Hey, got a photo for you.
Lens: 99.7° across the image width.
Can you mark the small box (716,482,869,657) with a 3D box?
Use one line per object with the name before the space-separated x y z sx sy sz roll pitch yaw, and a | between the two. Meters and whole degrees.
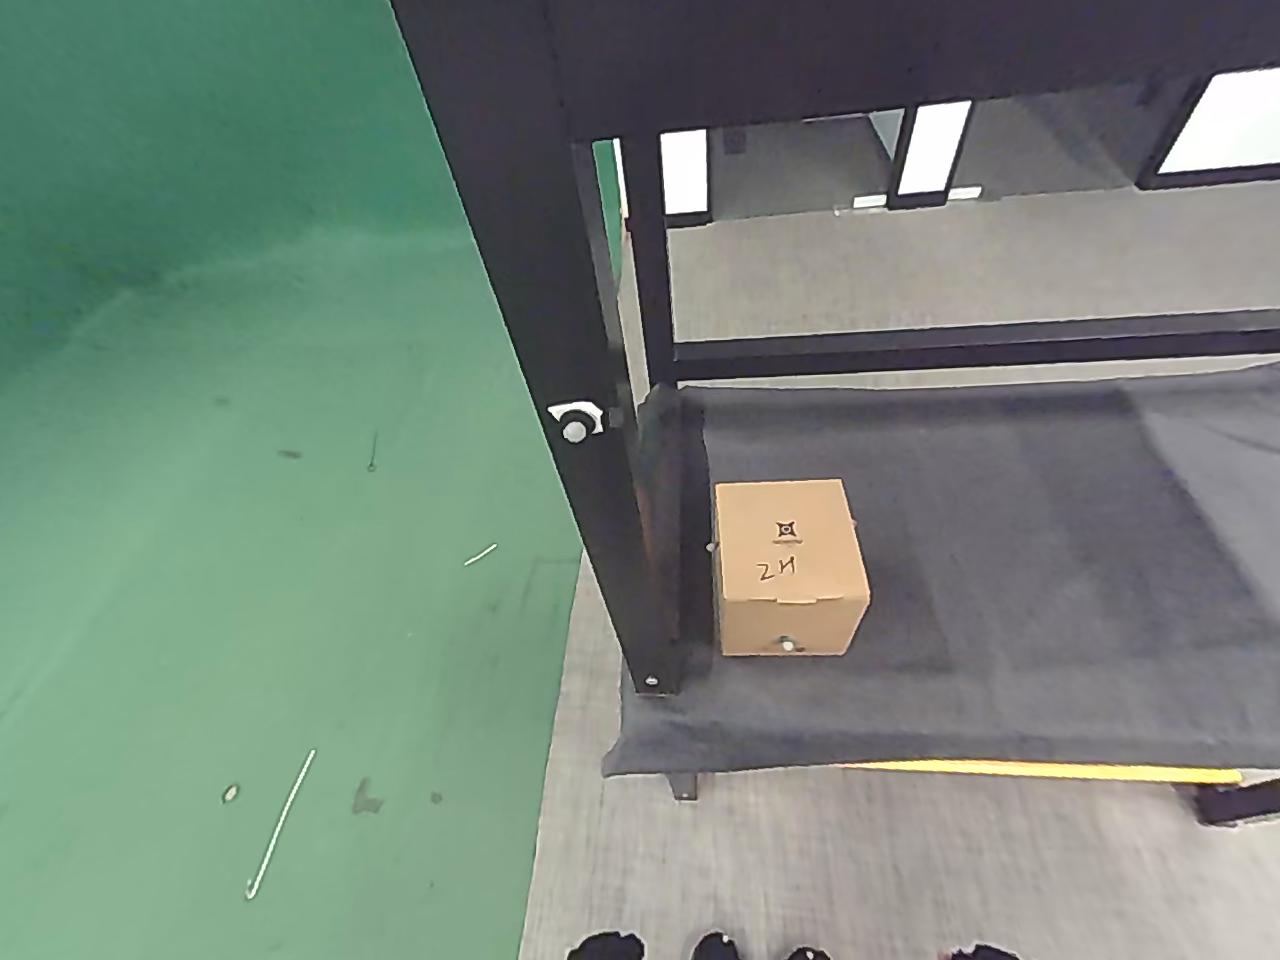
small box | 0.189 0.122 0.730 0.168 0.176 0.179 -3 50 6
